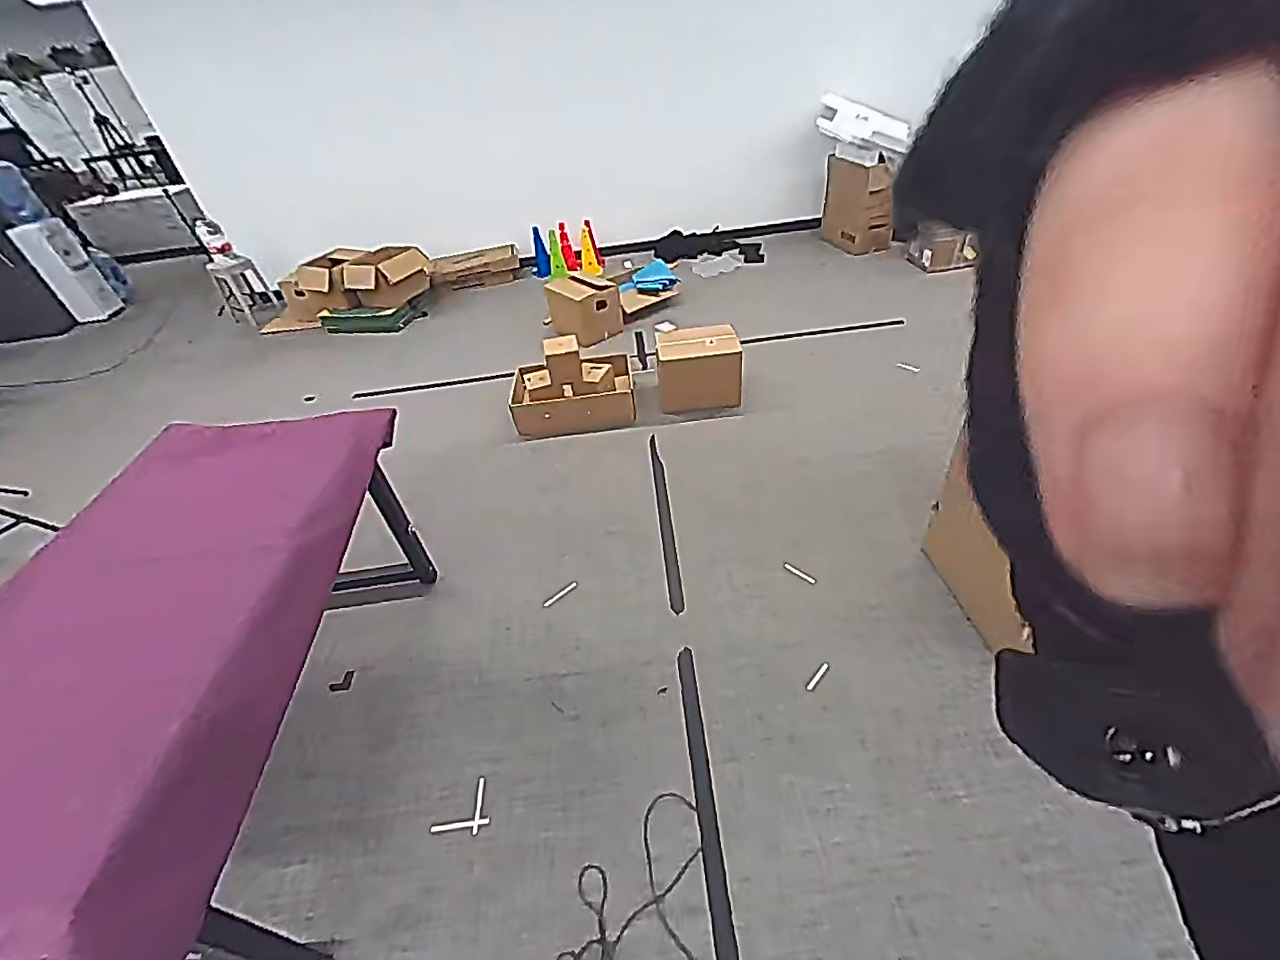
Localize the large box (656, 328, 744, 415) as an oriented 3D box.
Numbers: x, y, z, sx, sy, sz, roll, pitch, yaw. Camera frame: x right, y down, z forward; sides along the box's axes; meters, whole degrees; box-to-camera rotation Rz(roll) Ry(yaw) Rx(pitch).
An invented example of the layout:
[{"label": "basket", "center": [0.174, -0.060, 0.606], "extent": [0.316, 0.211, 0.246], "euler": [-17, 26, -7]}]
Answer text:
[{"label": "large box", "center": [0.302, -0.558, 2.785], "extent": [0.408, 0.320, 0.320], "euler": [-6, 40, 0]}]

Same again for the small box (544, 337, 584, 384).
[{"label": "small box", "center": [-0.376, -0.588, 2.698], "extent": [0.168, 0.176, 0.179], "euler": [-11, 39, -6]}]
